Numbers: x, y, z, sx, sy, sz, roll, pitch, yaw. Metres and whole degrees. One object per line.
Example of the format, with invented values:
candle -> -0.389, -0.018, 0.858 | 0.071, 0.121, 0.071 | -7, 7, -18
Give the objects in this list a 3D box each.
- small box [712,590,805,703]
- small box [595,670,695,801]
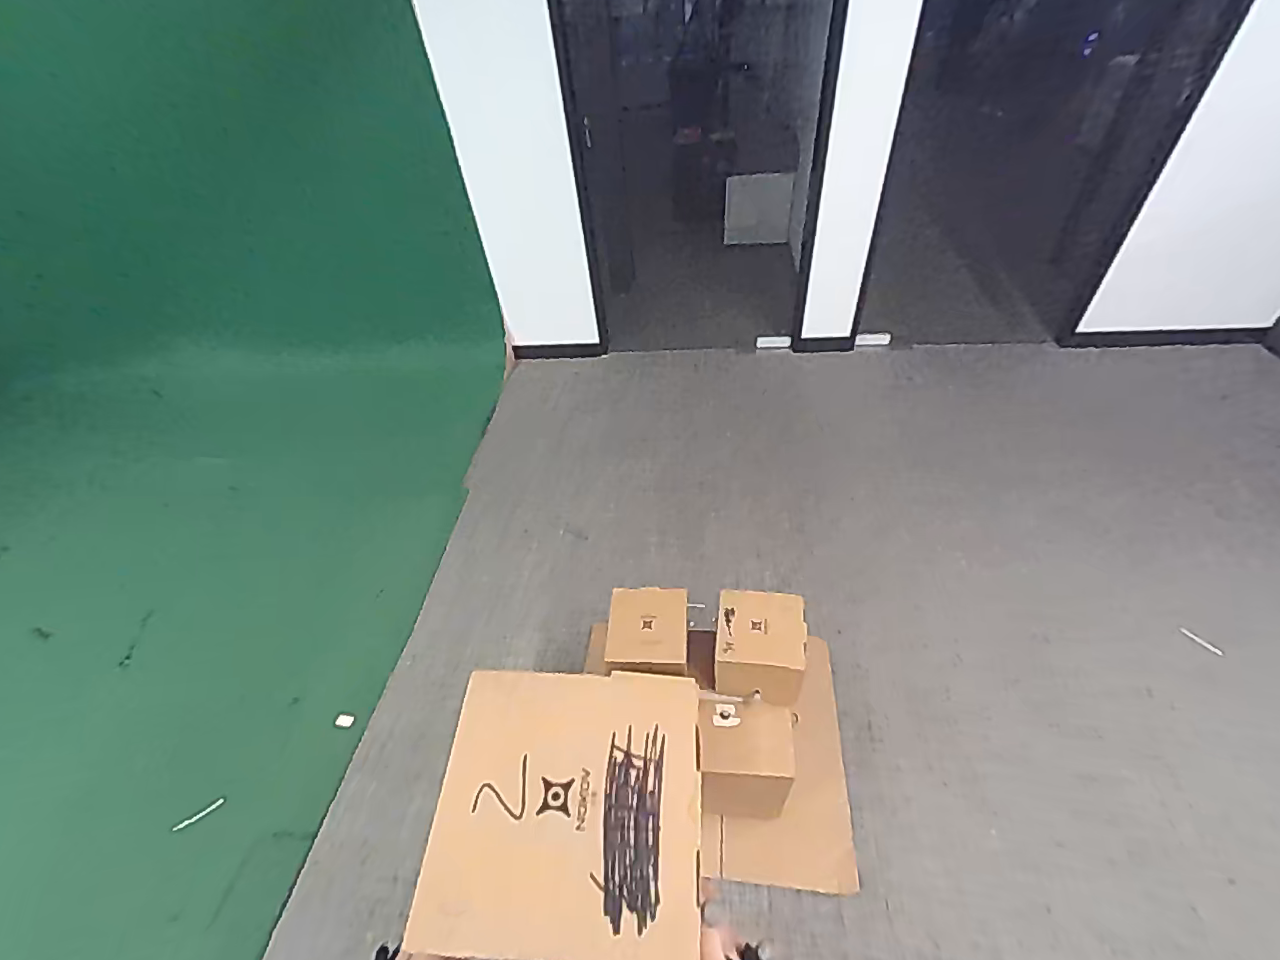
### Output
small box -> 0.248, 0.357, 1.150 | 0.179, 0.176, 0.168 | 4, 46, 11
small box -> 0.017, 0.494, 1.045 | 0.168, 0.176, 0.179 | 3, 48, 8
